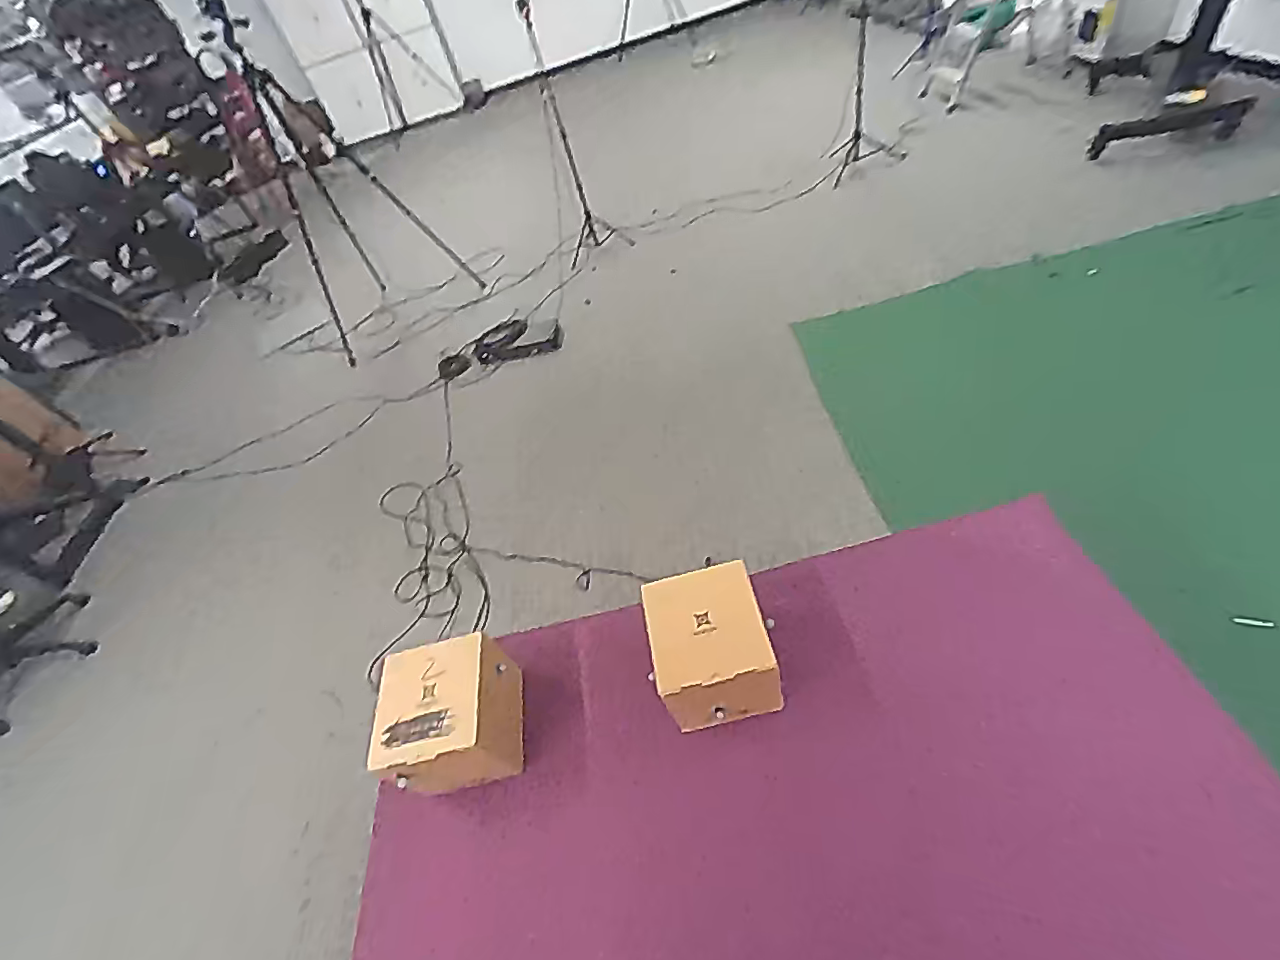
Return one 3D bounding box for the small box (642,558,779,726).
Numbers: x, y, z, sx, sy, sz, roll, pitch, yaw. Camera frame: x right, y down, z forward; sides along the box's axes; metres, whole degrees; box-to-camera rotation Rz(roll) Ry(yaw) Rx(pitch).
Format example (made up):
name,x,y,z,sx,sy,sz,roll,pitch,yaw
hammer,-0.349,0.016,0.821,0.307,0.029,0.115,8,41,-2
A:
name,x,y,z,sx,sy,sz,roll,pitch,yaw
small box,0.109,0.252,0.834,0.168,0.176,0.179,-15,48,4
